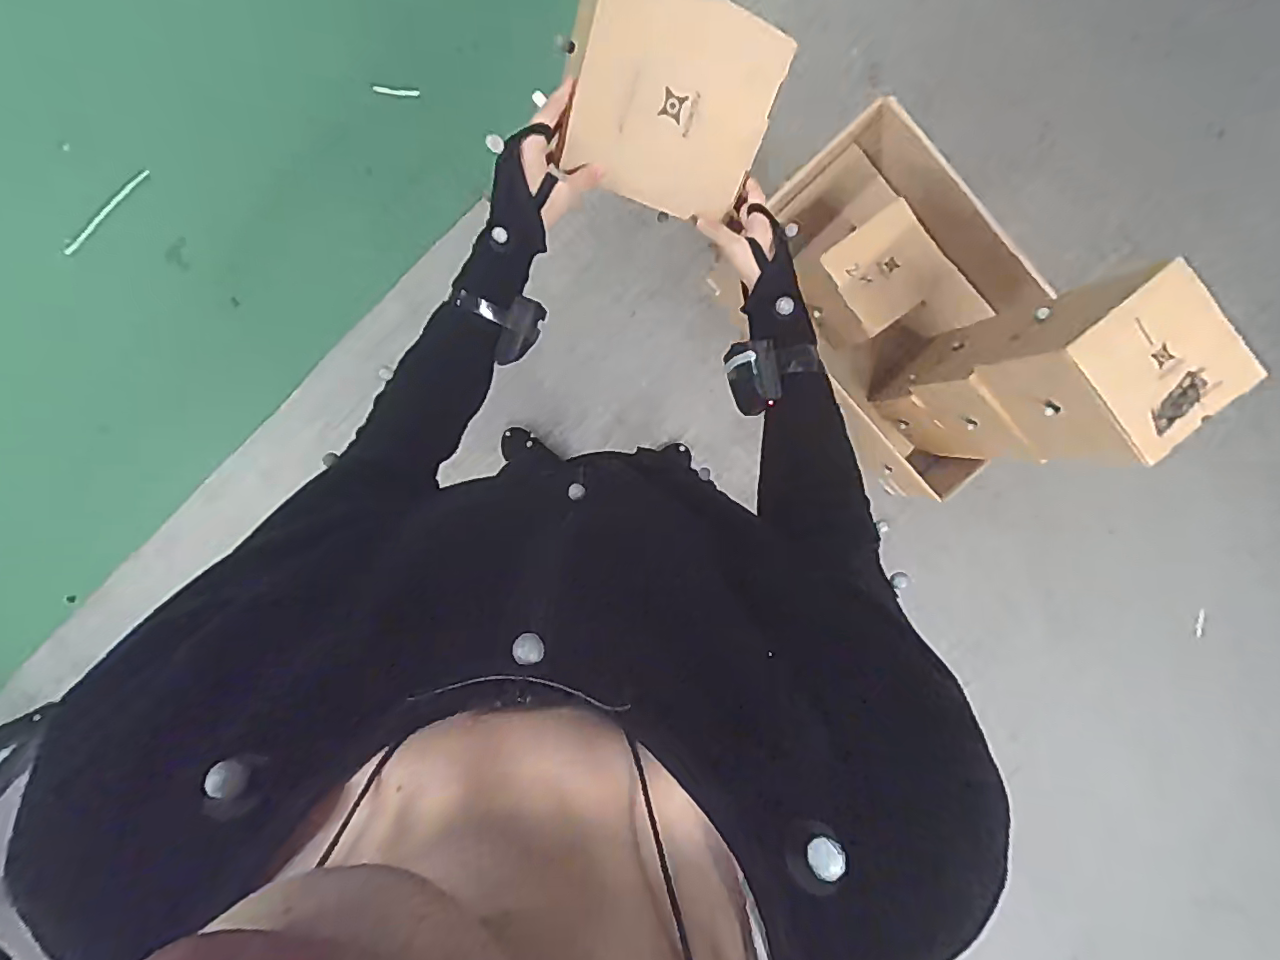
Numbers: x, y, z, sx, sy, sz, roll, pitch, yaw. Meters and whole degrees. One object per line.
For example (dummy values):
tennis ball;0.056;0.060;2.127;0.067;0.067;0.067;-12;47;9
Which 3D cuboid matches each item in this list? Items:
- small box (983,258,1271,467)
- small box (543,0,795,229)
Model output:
small box;0.592;-0.138;0.684;0.168;0.176;0.179;-39;94;2
small box;0.012;-0.376;0.534;0.179;0.176;0.168;11;121;-21
